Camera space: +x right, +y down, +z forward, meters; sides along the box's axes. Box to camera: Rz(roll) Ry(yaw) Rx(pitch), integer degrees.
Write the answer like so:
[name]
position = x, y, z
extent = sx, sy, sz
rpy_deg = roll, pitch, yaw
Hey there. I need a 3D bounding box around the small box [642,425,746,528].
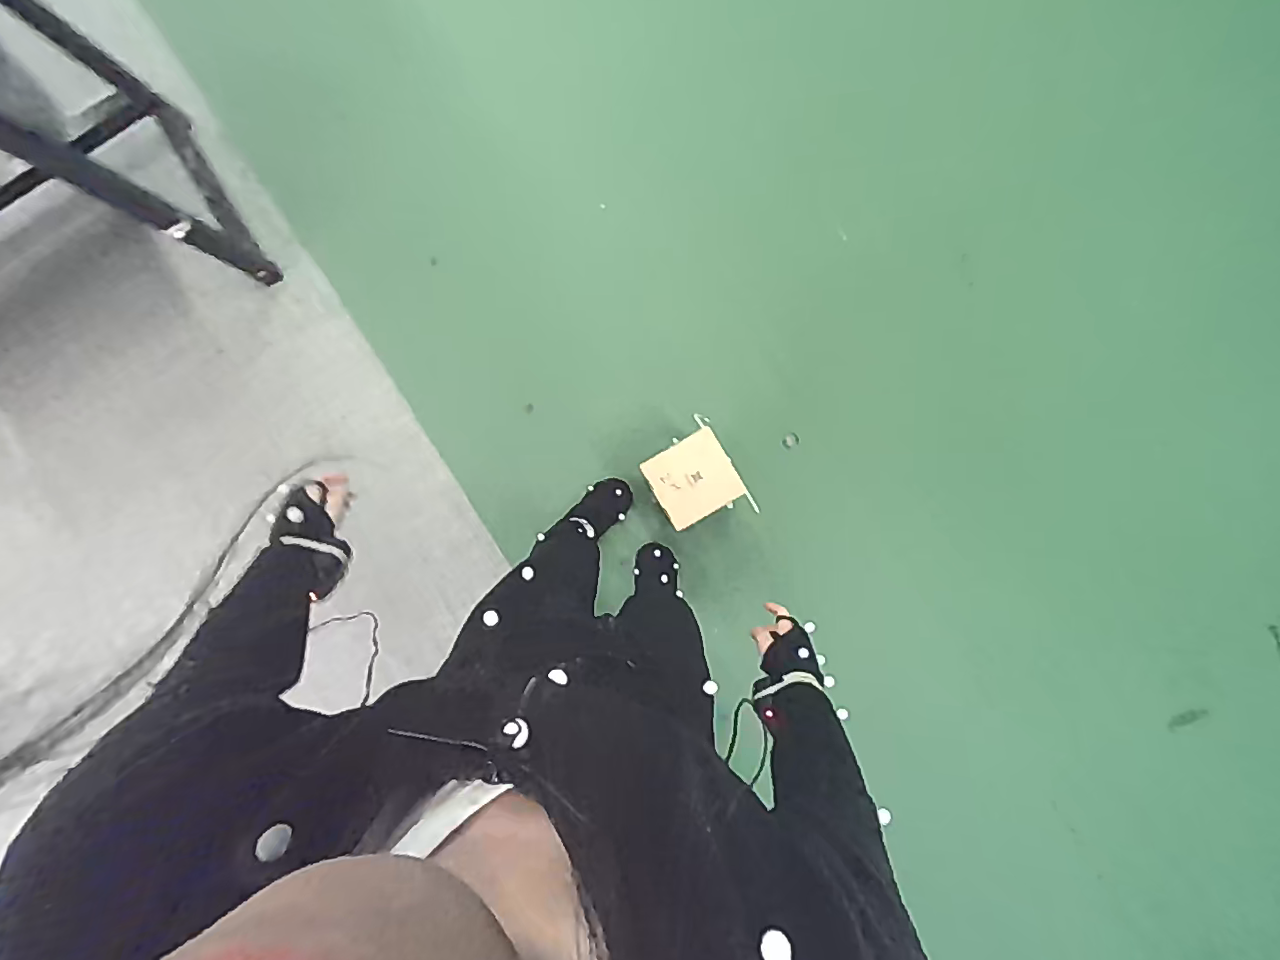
[small box]
position = 0.116, -0.007, 1.235
extent = 0.179, 0.176, 0.168
rpy_deg = -30, 88, 1
